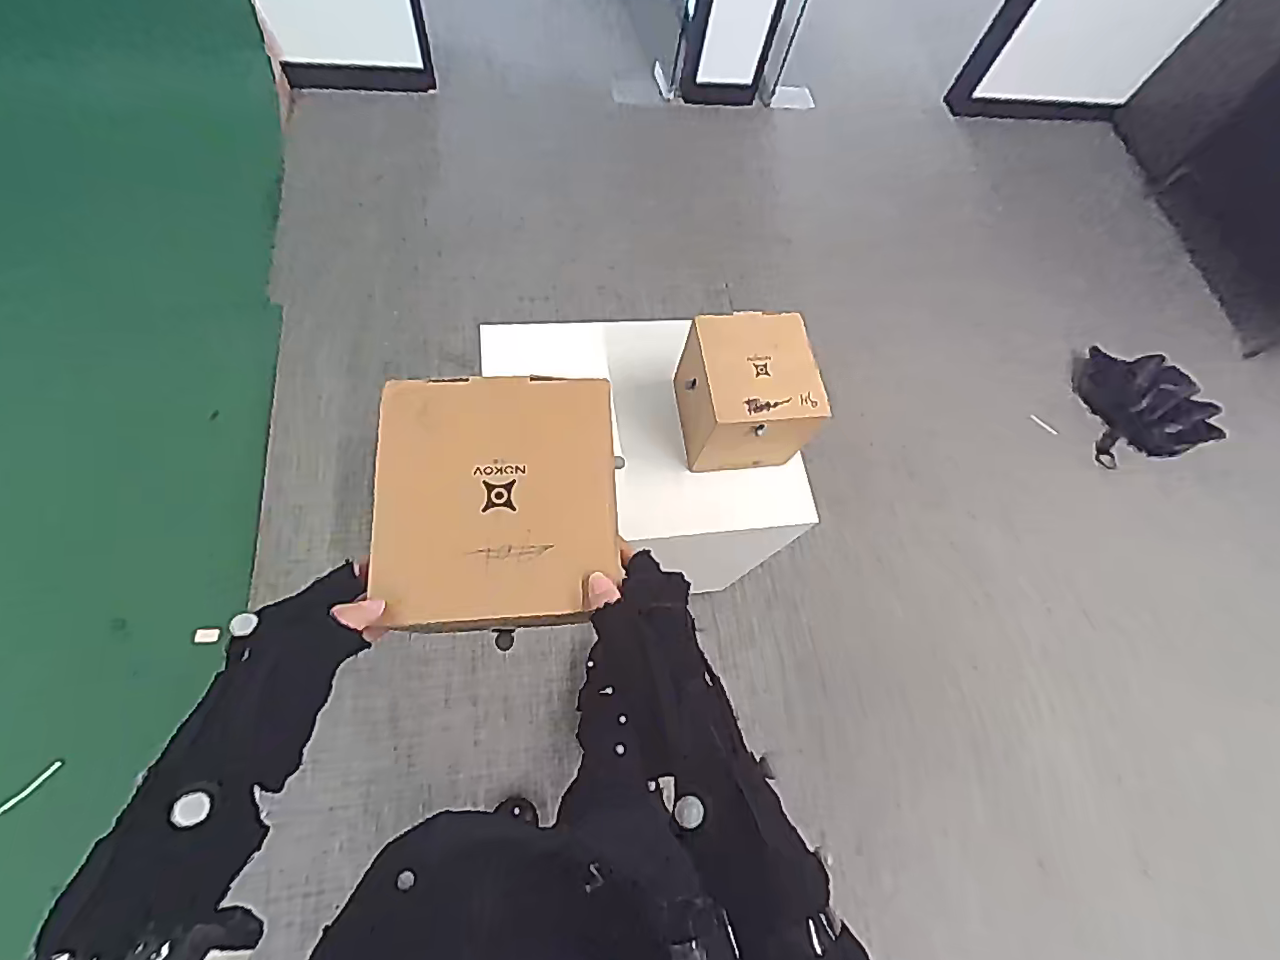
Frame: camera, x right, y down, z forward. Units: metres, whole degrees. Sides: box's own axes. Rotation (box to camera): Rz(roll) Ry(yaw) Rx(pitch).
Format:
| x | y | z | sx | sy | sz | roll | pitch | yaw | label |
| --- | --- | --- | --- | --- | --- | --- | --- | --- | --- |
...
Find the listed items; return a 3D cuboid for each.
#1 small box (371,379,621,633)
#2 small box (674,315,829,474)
| x | y | z | sx | sy | sz | roll | pitch | yaw | label |
| --- | --- | --- | --- | --- | --- | --- | --- | --- | --- |
| -0.108 | 0.031 | 0.459 | 0.168 | 0.176 | 0.179 | -3 | 73 | -7 | small box |
| 0.156 | -0.126 | 0.825 | 0.168 | 0.176 | 0.179 | -6 | 68 | -9 | small box |
